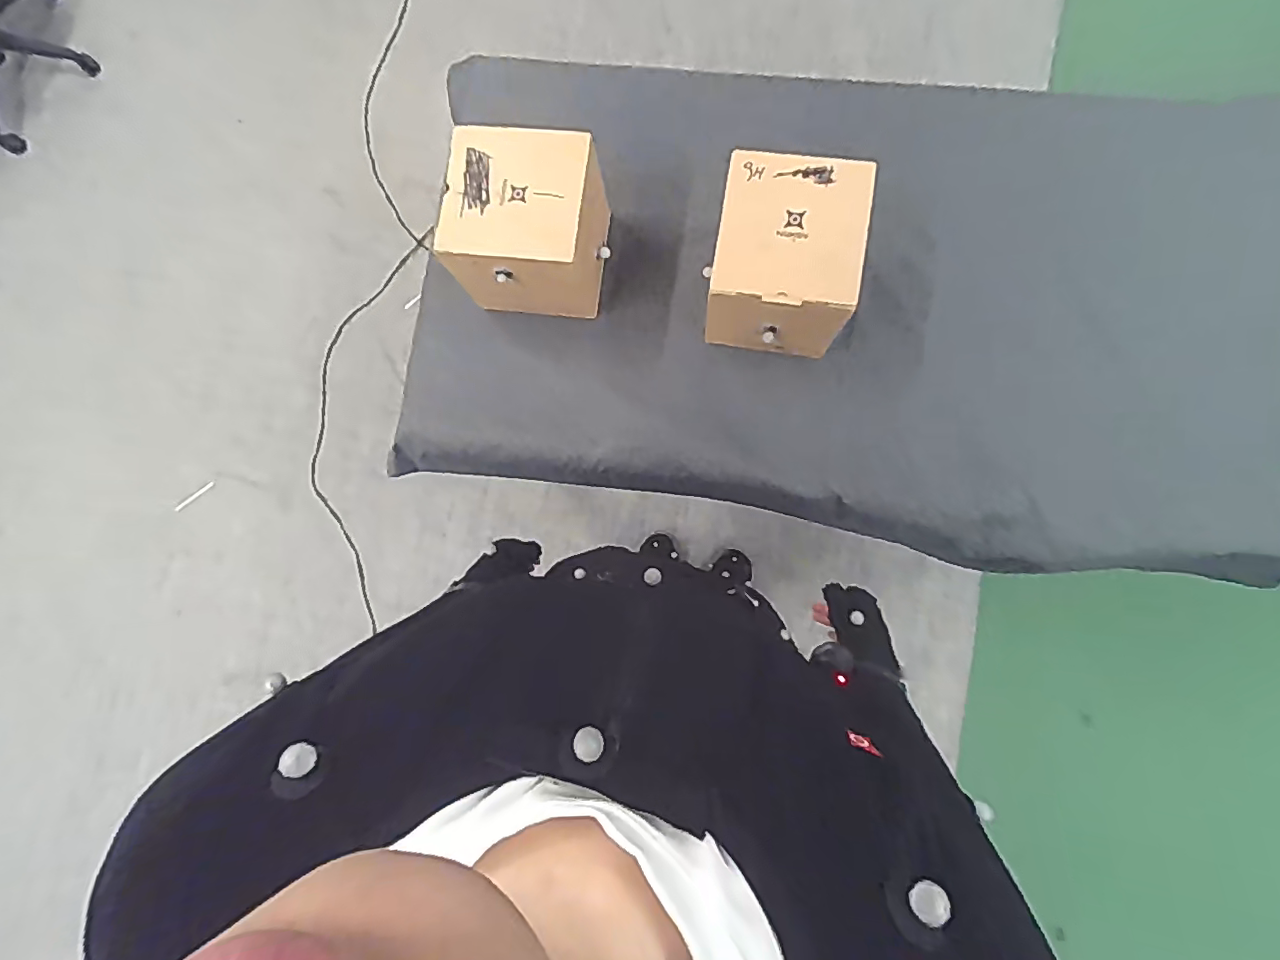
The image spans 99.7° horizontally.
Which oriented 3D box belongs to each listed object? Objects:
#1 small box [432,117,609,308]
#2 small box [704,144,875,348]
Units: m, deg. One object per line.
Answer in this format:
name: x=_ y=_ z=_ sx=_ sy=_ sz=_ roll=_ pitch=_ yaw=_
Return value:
small box: x=-0.147 y=-0.344 z=0.723 sx=0.179 sy=0.176 sz=0.168 roll=7 pitch=86 yaw=5
small box: x=0.177 y=-0.283 z=0.689 sx=0.168 sy=0.176 sz=0.179 roll=10 pitch=86 yaw=6
